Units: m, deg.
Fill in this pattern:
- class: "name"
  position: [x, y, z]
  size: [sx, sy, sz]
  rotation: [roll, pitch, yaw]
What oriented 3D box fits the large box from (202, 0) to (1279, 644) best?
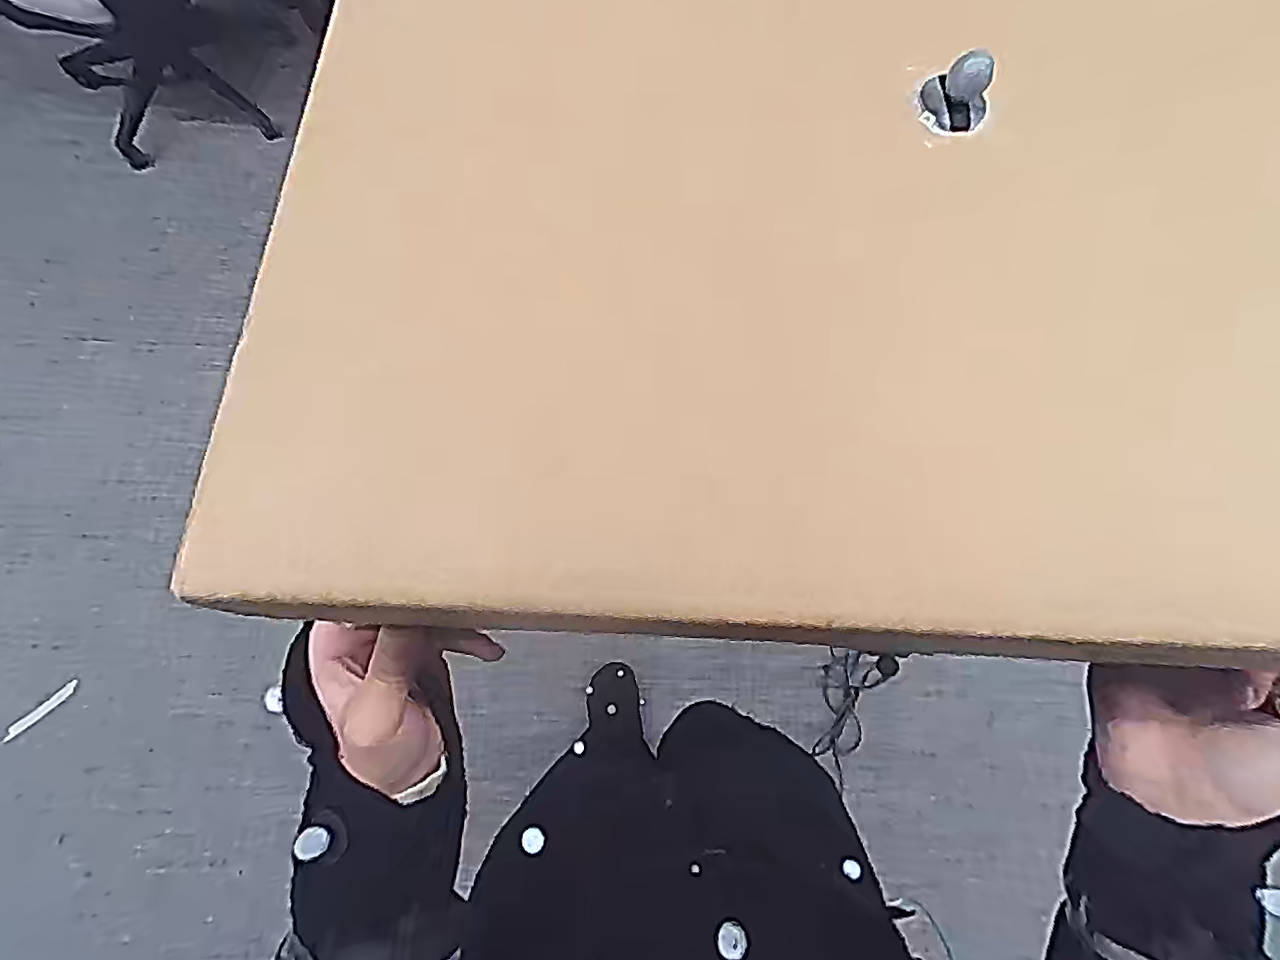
- class: "large box"
  position: [0.086, -0.077, 0.318]
  size: [0.408, 0.320, 0.320]
  rotation: [3, 75, -2]
